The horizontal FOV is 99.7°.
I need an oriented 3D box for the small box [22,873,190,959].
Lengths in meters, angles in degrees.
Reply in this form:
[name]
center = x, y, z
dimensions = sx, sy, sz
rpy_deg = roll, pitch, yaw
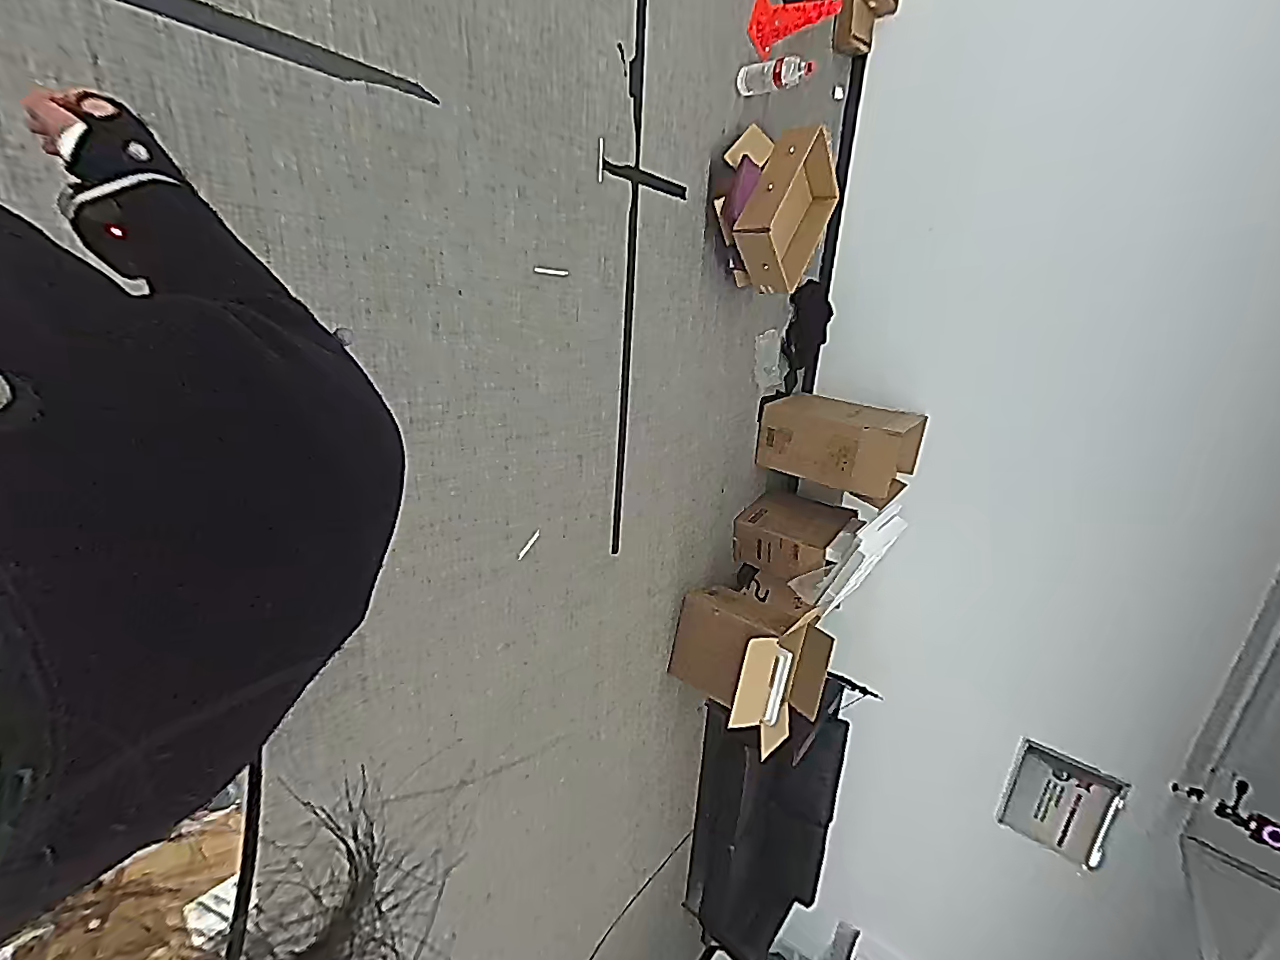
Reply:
[small box]
center = -0.826, 0.782, 0.850
dimensions = 0.168, 0.176, 0.179
rpy_deg = -18, 115, -48
